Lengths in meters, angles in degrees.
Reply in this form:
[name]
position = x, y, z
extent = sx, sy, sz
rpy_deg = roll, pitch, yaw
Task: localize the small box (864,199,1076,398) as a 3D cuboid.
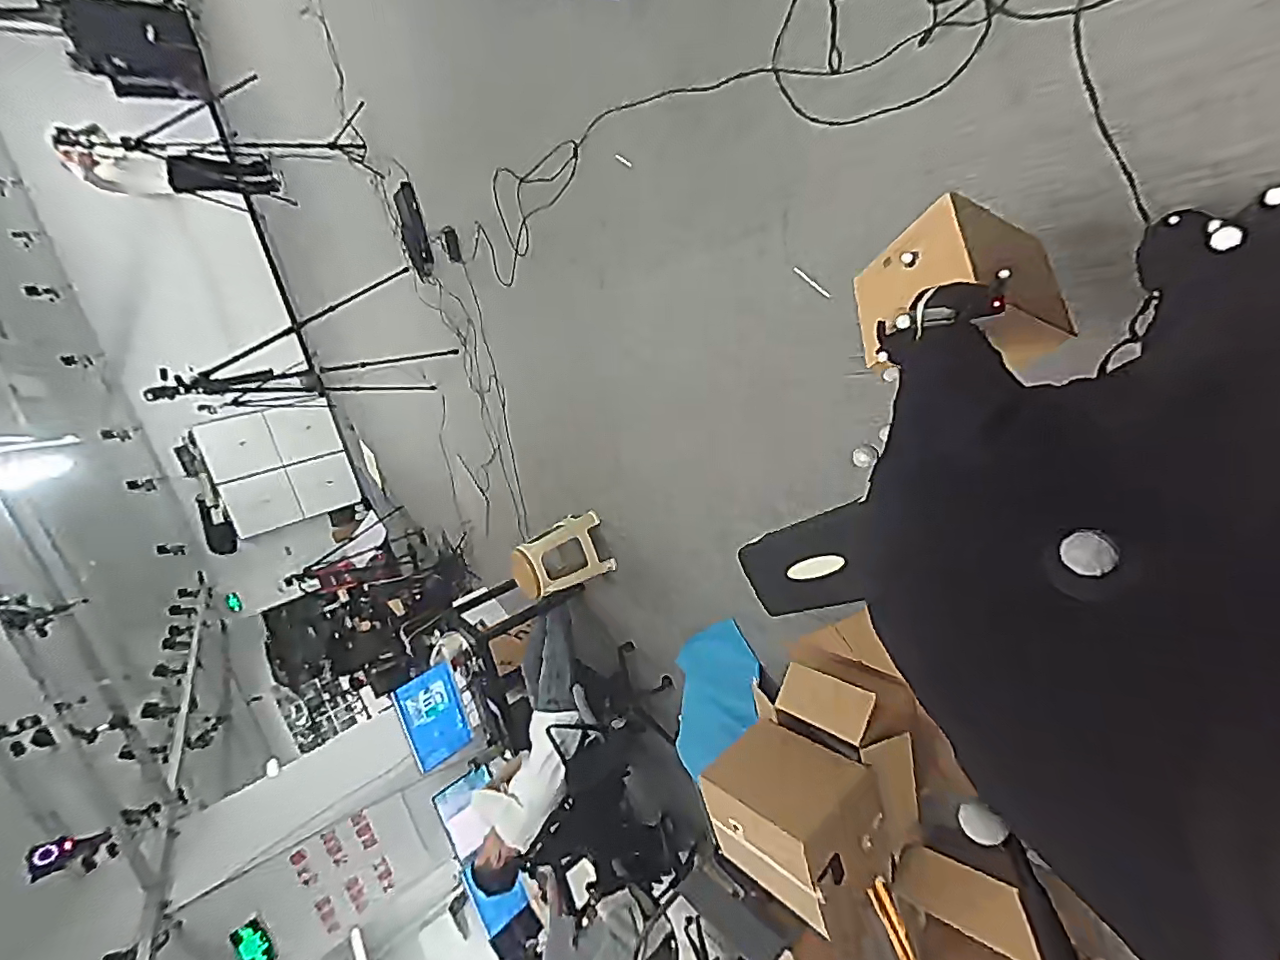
[small box]
position = 0.432, -0.239, 0.732
extent = 0.168, 0.179, 0.176
rpy_deg = 136, 142, -59
